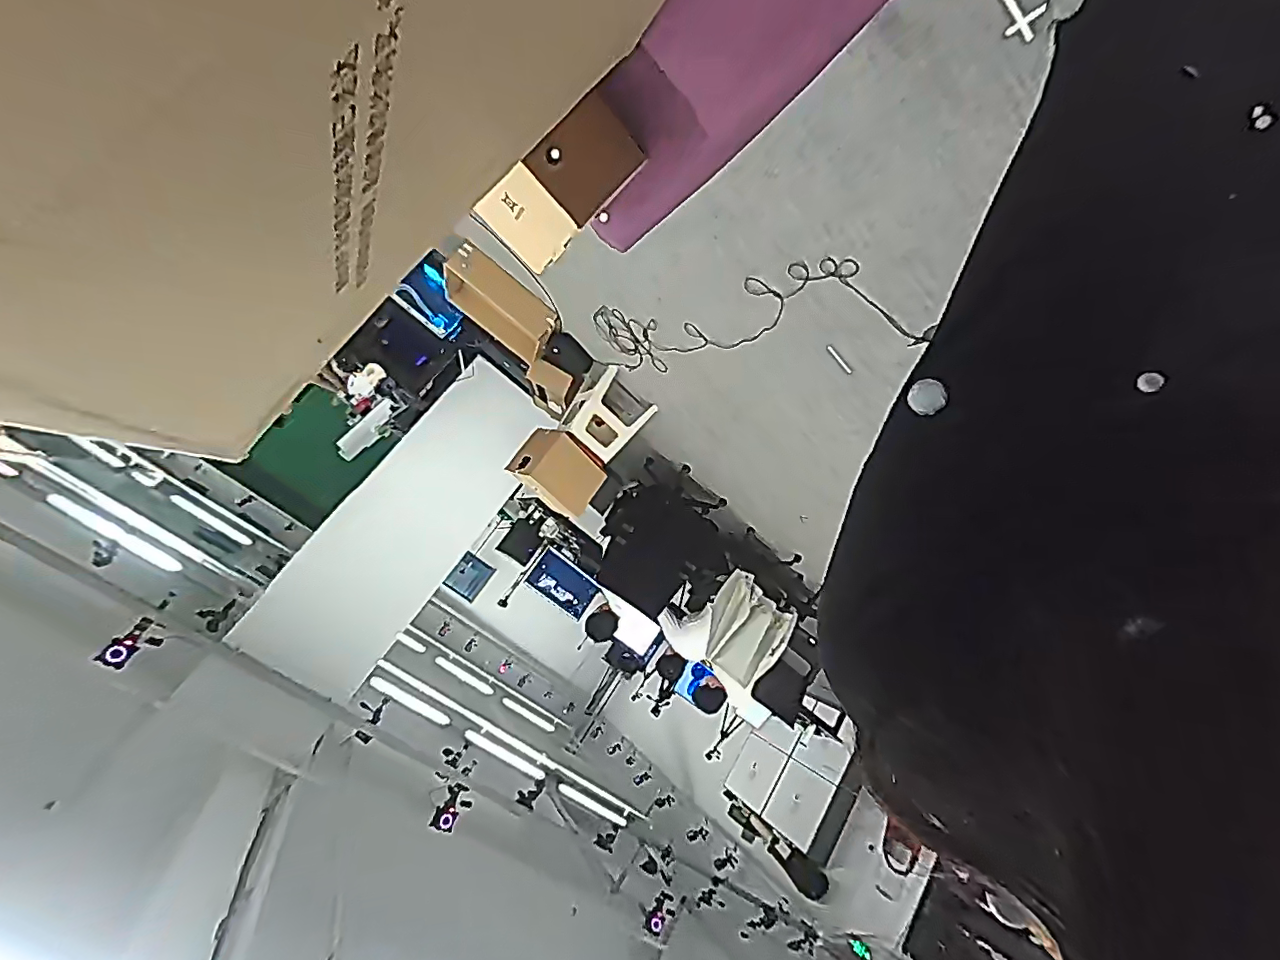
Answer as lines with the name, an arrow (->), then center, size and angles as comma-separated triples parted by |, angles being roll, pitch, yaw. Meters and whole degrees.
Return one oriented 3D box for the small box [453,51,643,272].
small box -> -0.127, -0.439, 0.760 | 0.179, 0.176, 0.168 | 44, 158, -20
